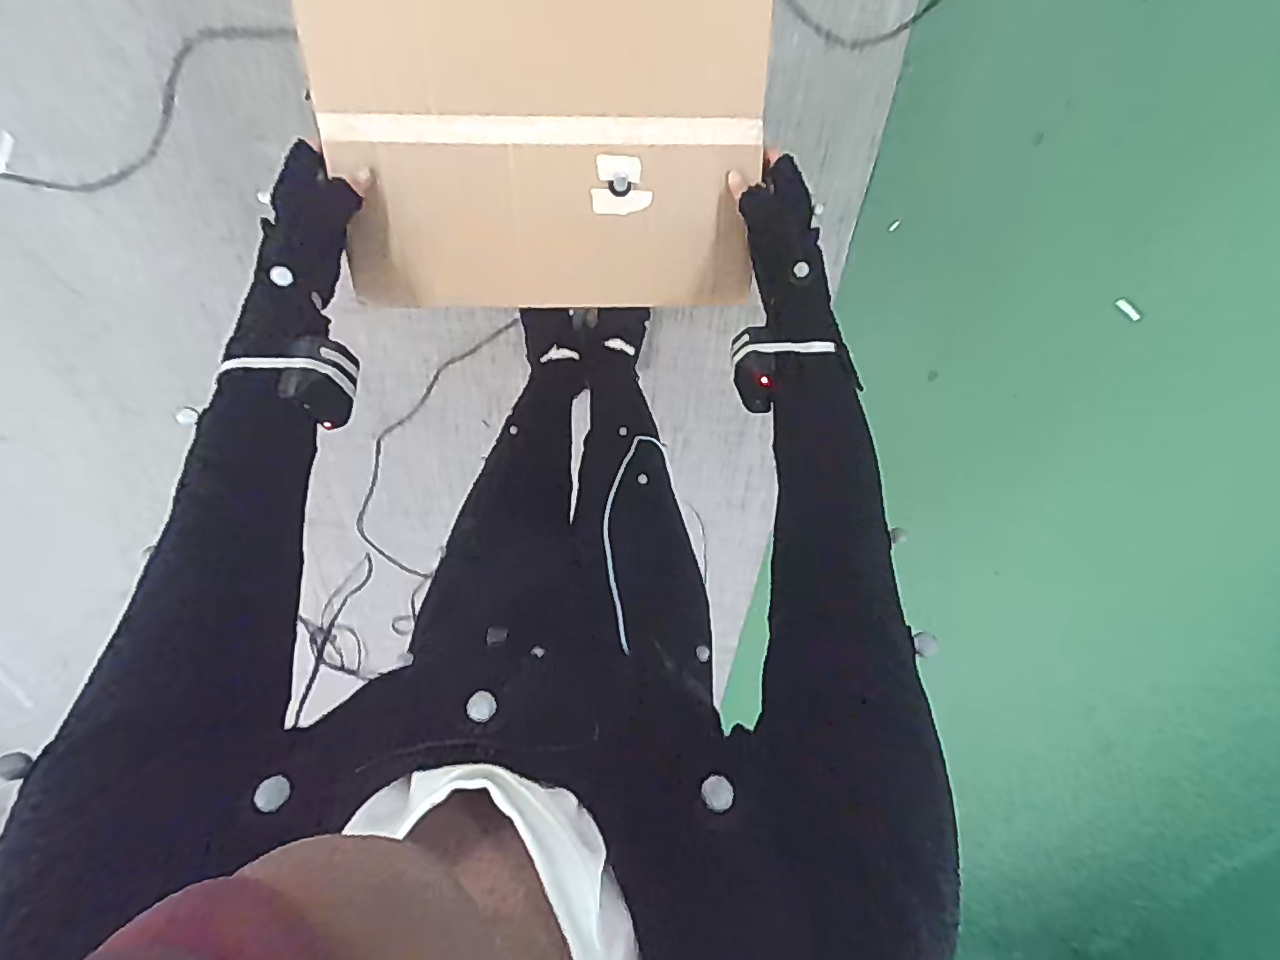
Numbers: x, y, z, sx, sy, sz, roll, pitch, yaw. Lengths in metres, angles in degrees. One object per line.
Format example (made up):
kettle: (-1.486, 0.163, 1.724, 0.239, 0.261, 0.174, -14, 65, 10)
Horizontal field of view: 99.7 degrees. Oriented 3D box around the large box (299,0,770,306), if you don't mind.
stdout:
large box: (-0.098, -0.386, 0.629, 0.408, 0.320, 0.320, -2, 116, -5)
